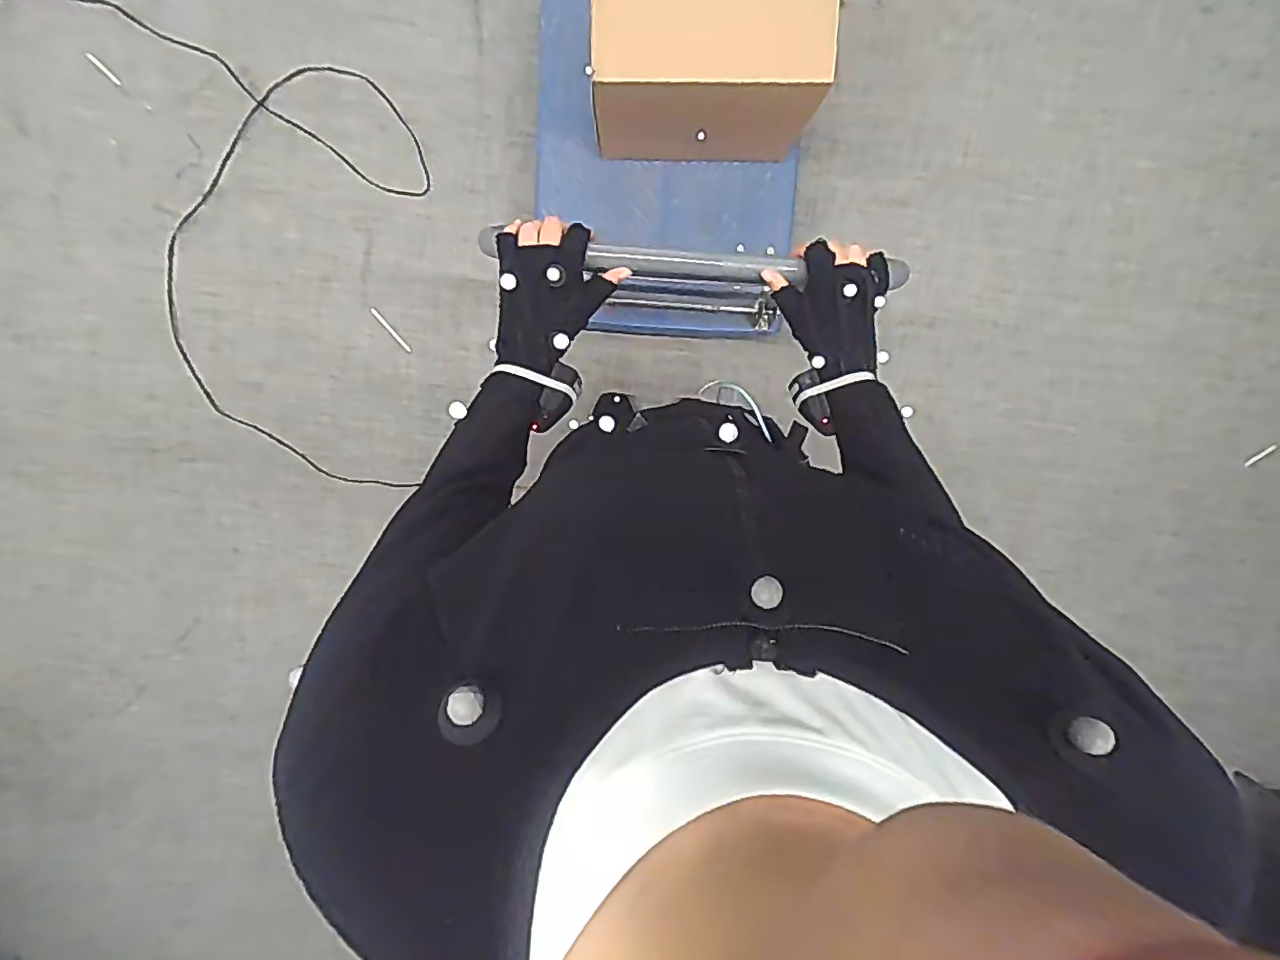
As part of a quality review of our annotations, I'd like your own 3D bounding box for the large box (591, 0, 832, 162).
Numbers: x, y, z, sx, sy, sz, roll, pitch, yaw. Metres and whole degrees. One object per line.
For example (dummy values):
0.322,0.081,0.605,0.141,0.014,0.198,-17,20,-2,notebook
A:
0.120,-0.836,1.034,0.408,0.320,0.320,-1,99,0,large box
